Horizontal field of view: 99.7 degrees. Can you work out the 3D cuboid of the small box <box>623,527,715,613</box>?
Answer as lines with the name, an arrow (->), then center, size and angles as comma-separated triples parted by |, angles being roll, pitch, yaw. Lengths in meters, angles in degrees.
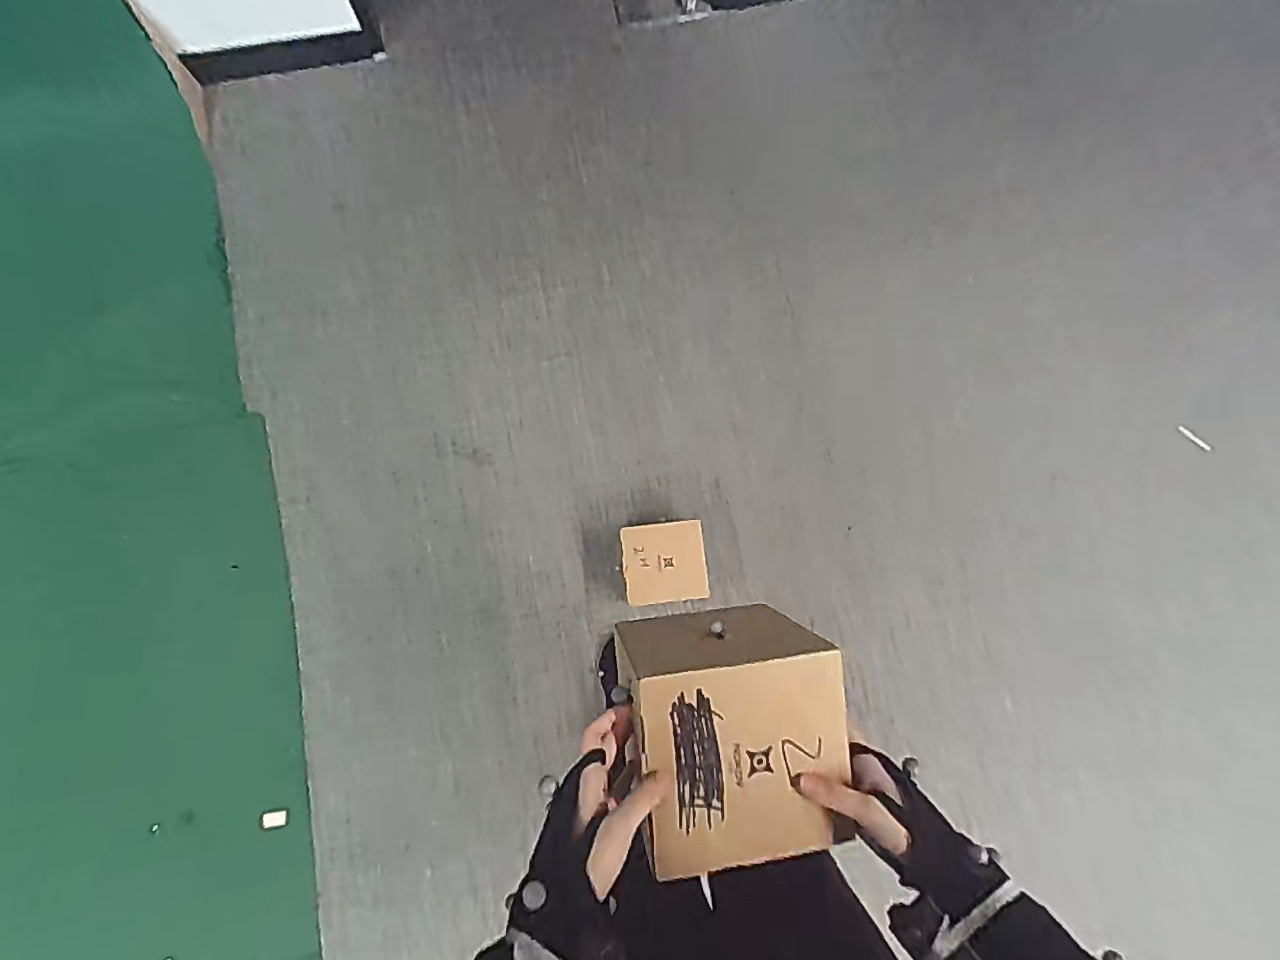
small box -> 0.058, 0.198, 1.204 | 0.179, 0.176, 0.168 | -6, 81, -3
